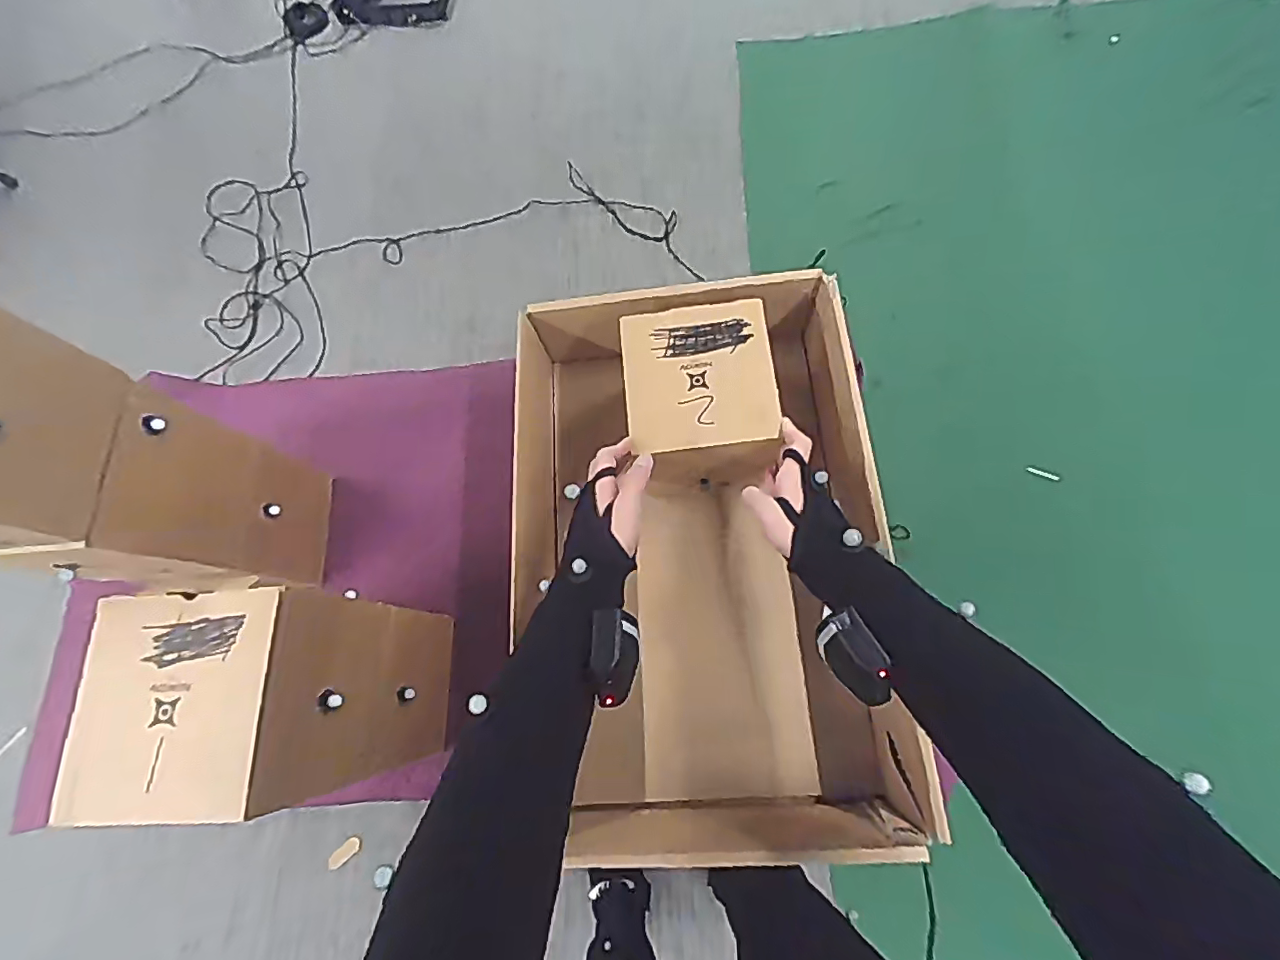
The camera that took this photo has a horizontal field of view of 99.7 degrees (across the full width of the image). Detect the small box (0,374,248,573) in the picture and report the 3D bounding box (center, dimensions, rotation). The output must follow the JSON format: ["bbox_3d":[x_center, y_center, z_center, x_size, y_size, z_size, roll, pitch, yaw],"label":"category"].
[{"bbox_3d":[-0.578,0.006,0.597,0.168,0.176,0.179,-5,72,4],"label":"small box"}]

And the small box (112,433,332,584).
[{"bbox_3d":[-0.562,0.050,0.752,0.168,0.176,0.179,-4,72,4],"label":"small box"}]

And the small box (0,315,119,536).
[{"bbox_3d":[-0.593,-0.048,0.443,0.168,0.176,0.179,-5,73,3],"label":"small box"}]

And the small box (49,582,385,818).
[{"bbox_3d":[-0.366,0.197,0.509,0.168,0.176,0.179,-3,72,5],"label":"small box"}]
